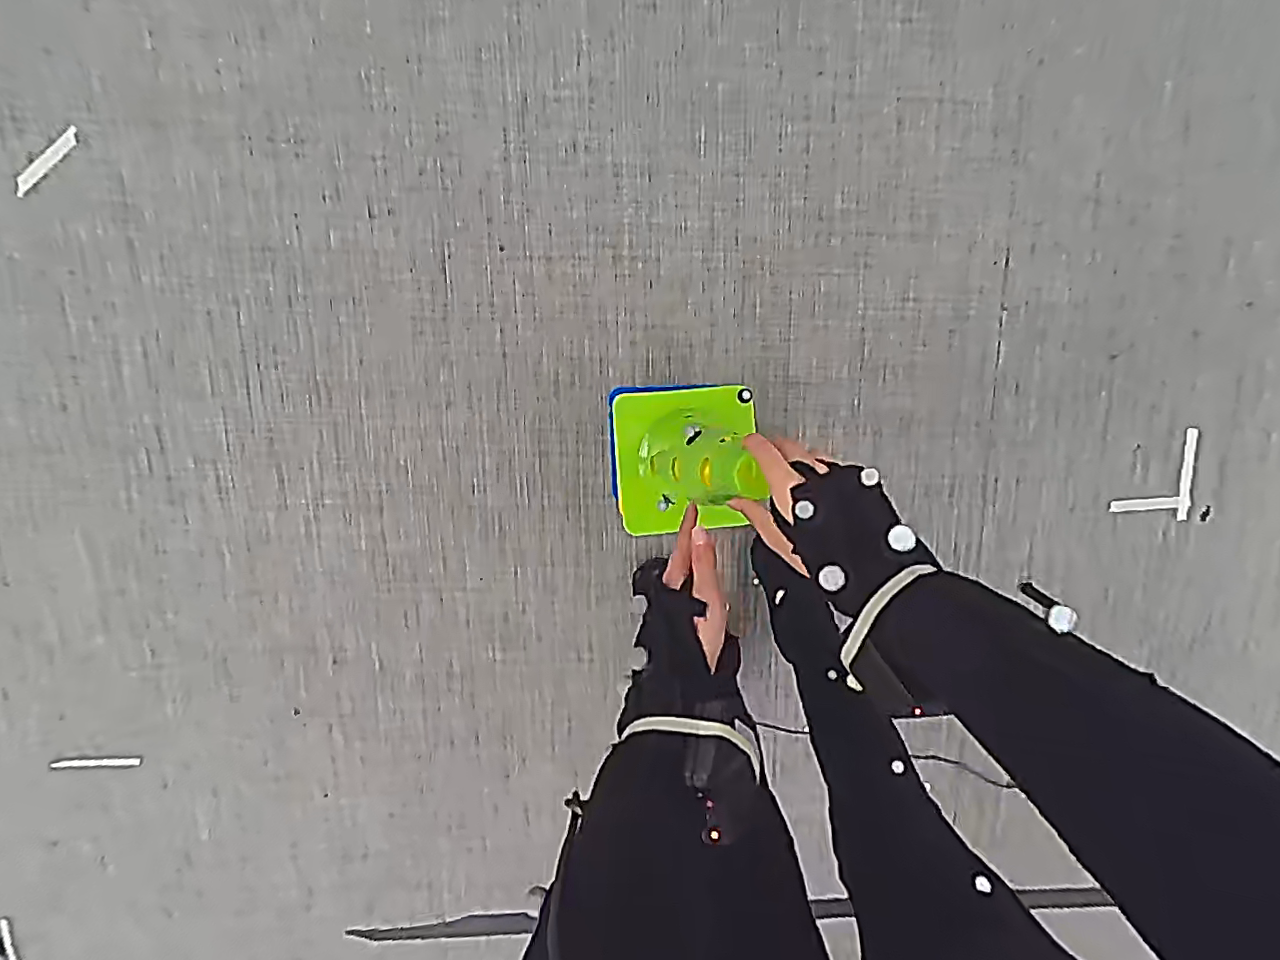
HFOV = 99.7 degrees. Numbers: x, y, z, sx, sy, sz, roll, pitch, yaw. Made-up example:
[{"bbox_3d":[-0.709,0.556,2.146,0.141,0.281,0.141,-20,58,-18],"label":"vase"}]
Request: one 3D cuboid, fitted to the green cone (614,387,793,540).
[{"bbox_3d":[0.081,-0.010,0.585,0.200,0.368,0.202,-7,95,-3],"label":"green cone"}]
